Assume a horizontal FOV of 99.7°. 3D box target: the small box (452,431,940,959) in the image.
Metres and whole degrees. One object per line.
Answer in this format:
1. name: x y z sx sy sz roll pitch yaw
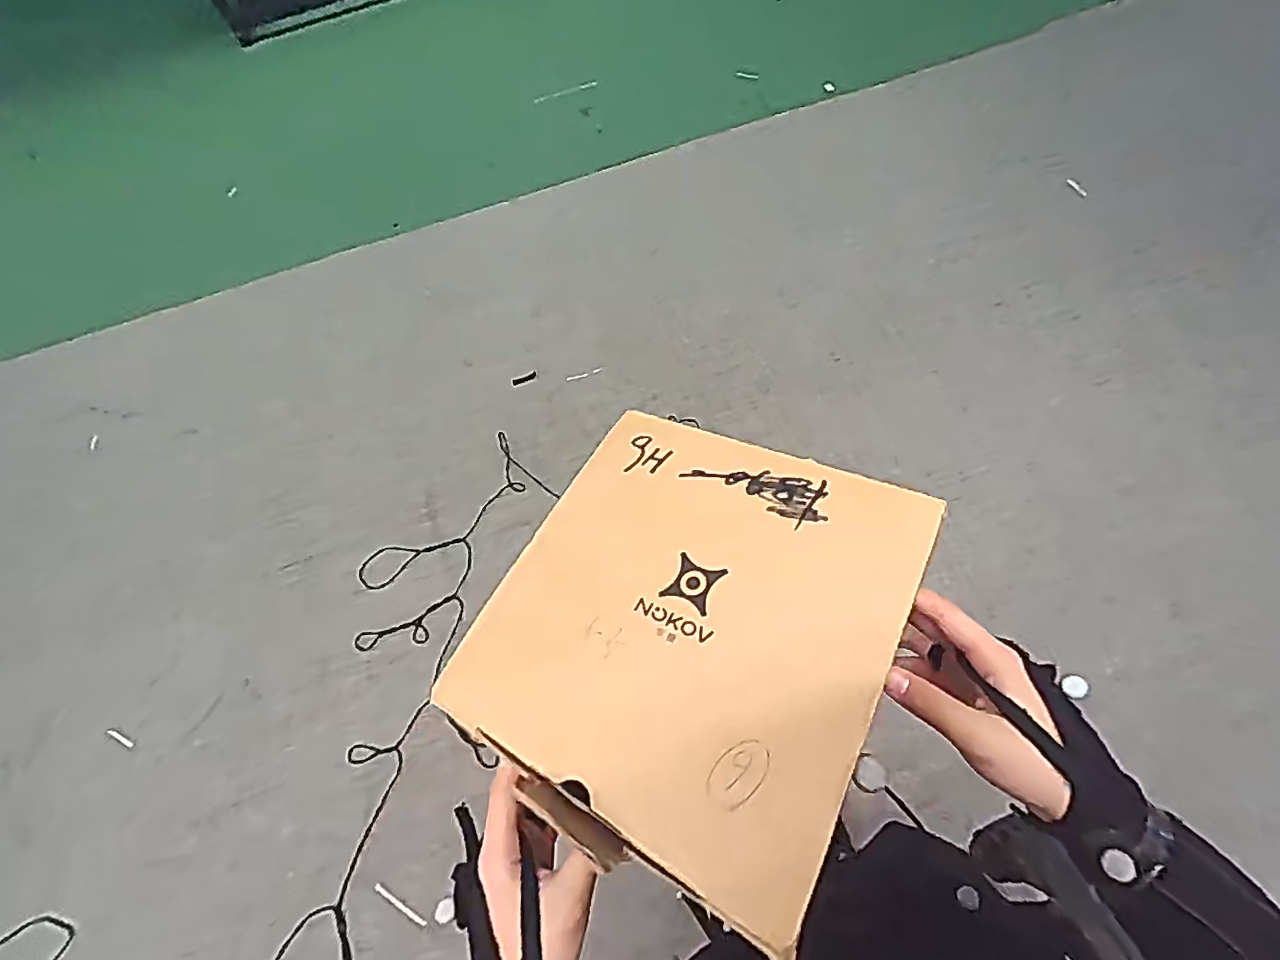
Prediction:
1. small box: 0.042 0.107 0.302 0.168 0.176 0.179 20 64 27
